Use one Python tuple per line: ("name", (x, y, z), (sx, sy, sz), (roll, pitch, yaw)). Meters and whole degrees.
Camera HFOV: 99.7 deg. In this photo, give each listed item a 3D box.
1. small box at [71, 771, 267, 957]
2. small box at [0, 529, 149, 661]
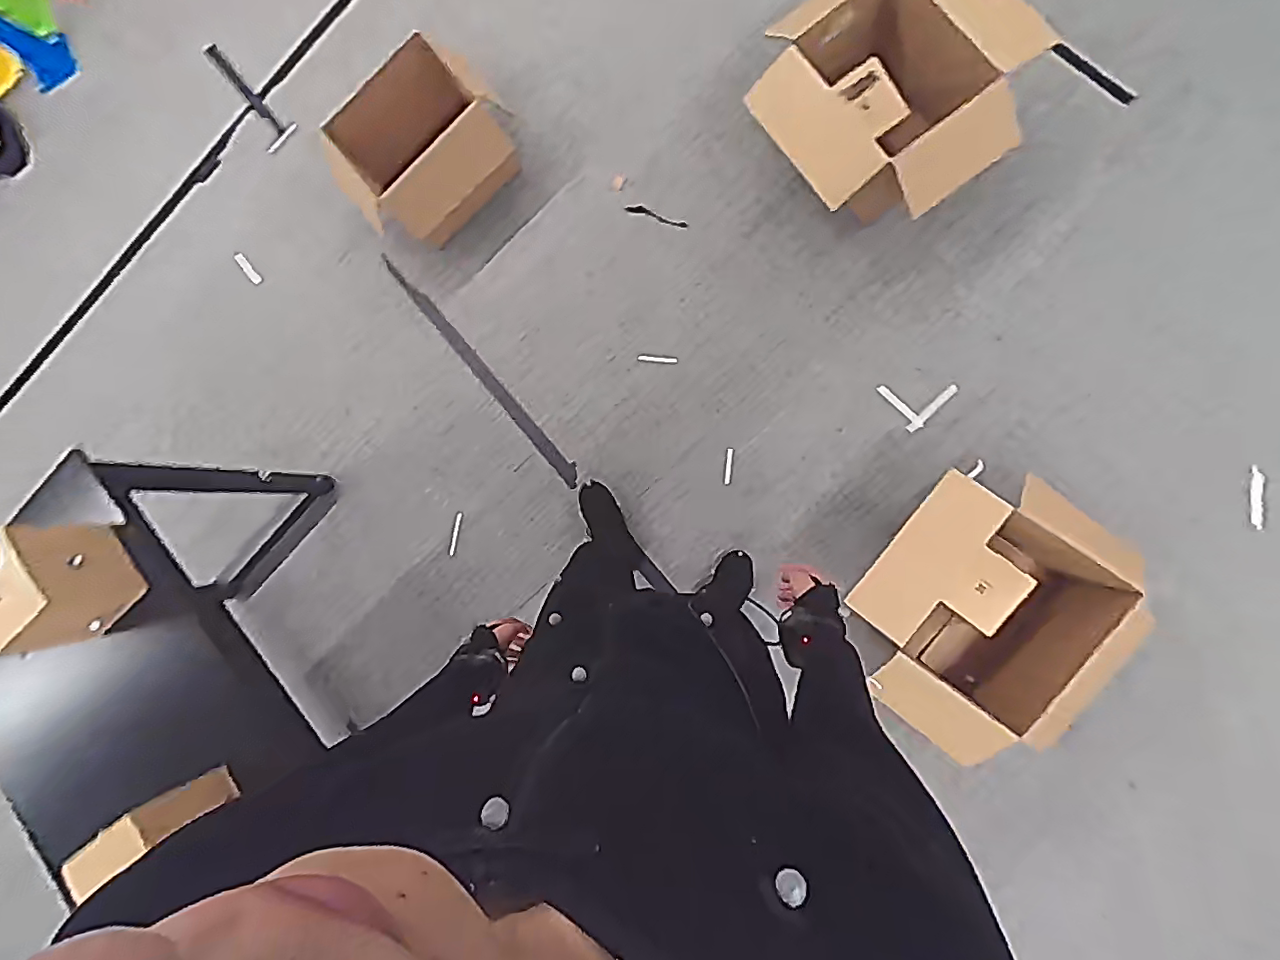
("small box", (-0.819, 0.662, 0.955), (0.179, 0.176, 0.168), (-38, 82, 7))
("small box", (-1.110, 0.209, 1.029), (0.168, 0.176, 0.179), (-42, 82, 7))
